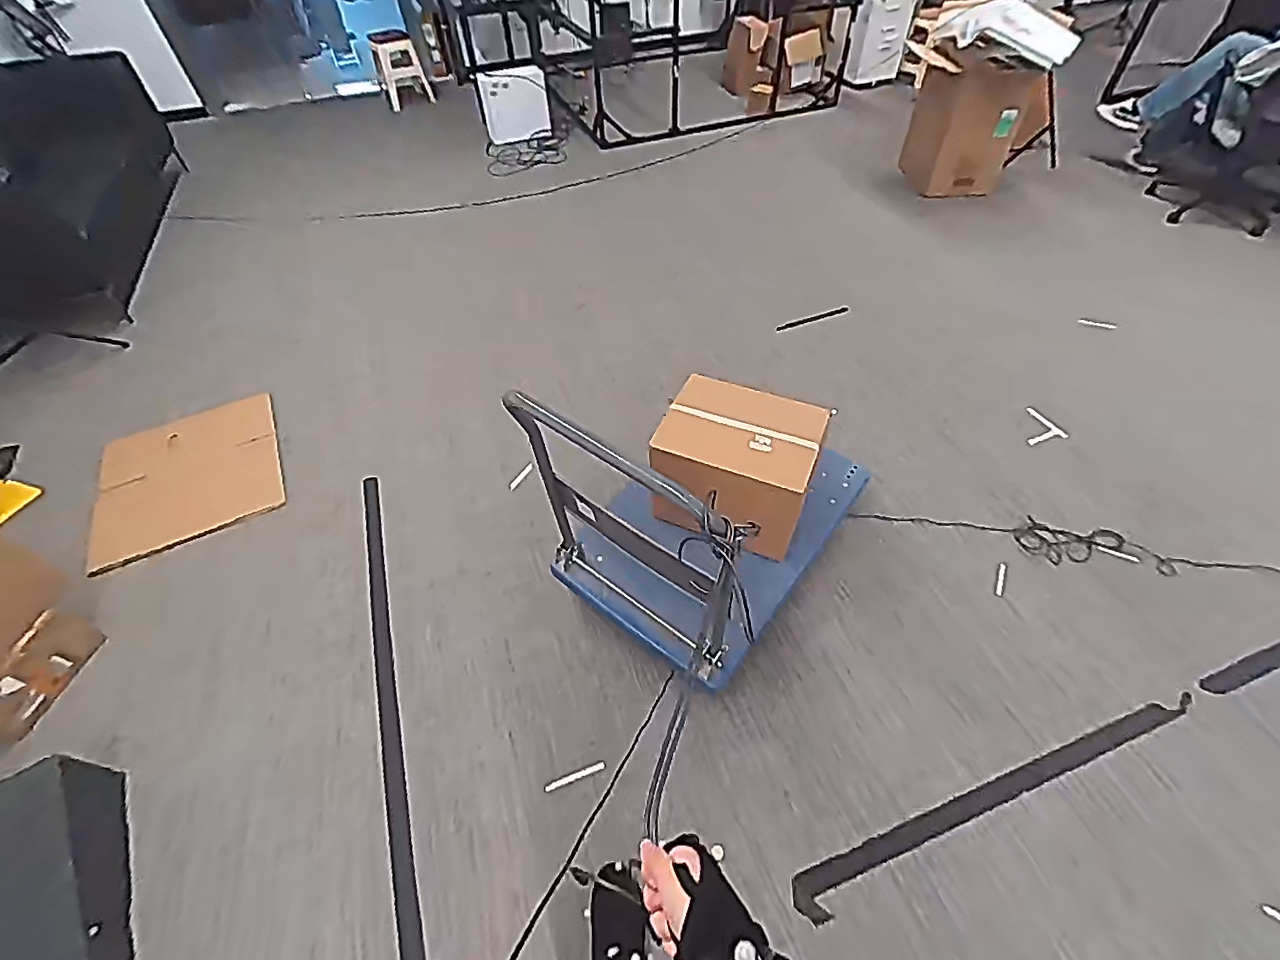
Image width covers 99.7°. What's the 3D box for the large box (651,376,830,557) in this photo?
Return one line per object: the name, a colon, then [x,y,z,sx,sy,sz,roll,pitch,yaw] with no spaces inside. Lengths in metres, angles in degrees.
large box: [0.268,-0.040,1.525,0.408,0.320,0.320,19,54,17]
